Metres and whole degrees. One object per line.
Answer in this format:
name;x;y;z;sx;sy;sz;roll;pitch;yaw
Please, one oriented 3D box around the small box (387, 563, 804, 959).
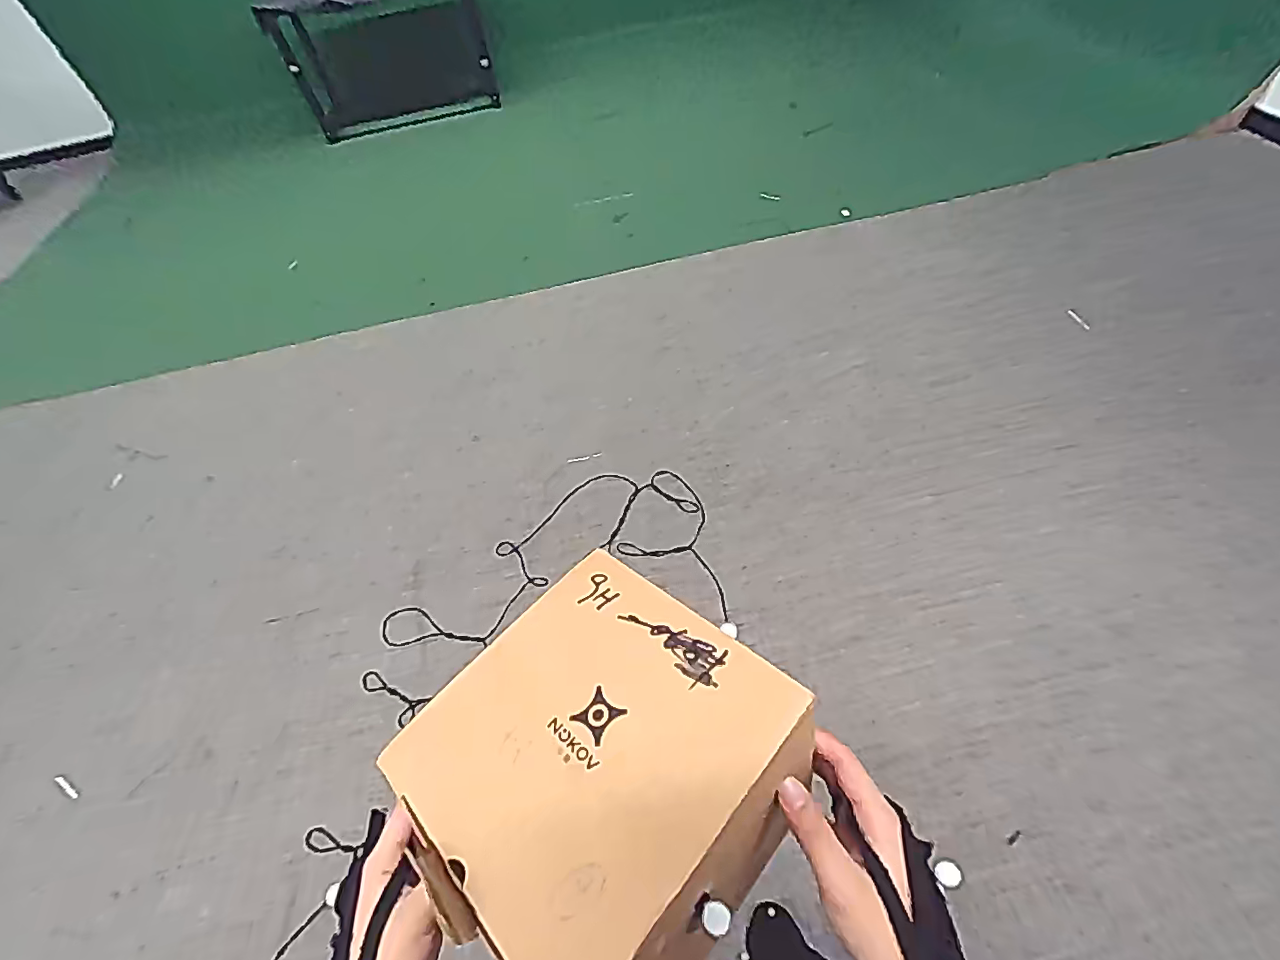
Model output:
small box;-0.011;0.194;0.342;0.168;0.176;0.179;28;59;36
